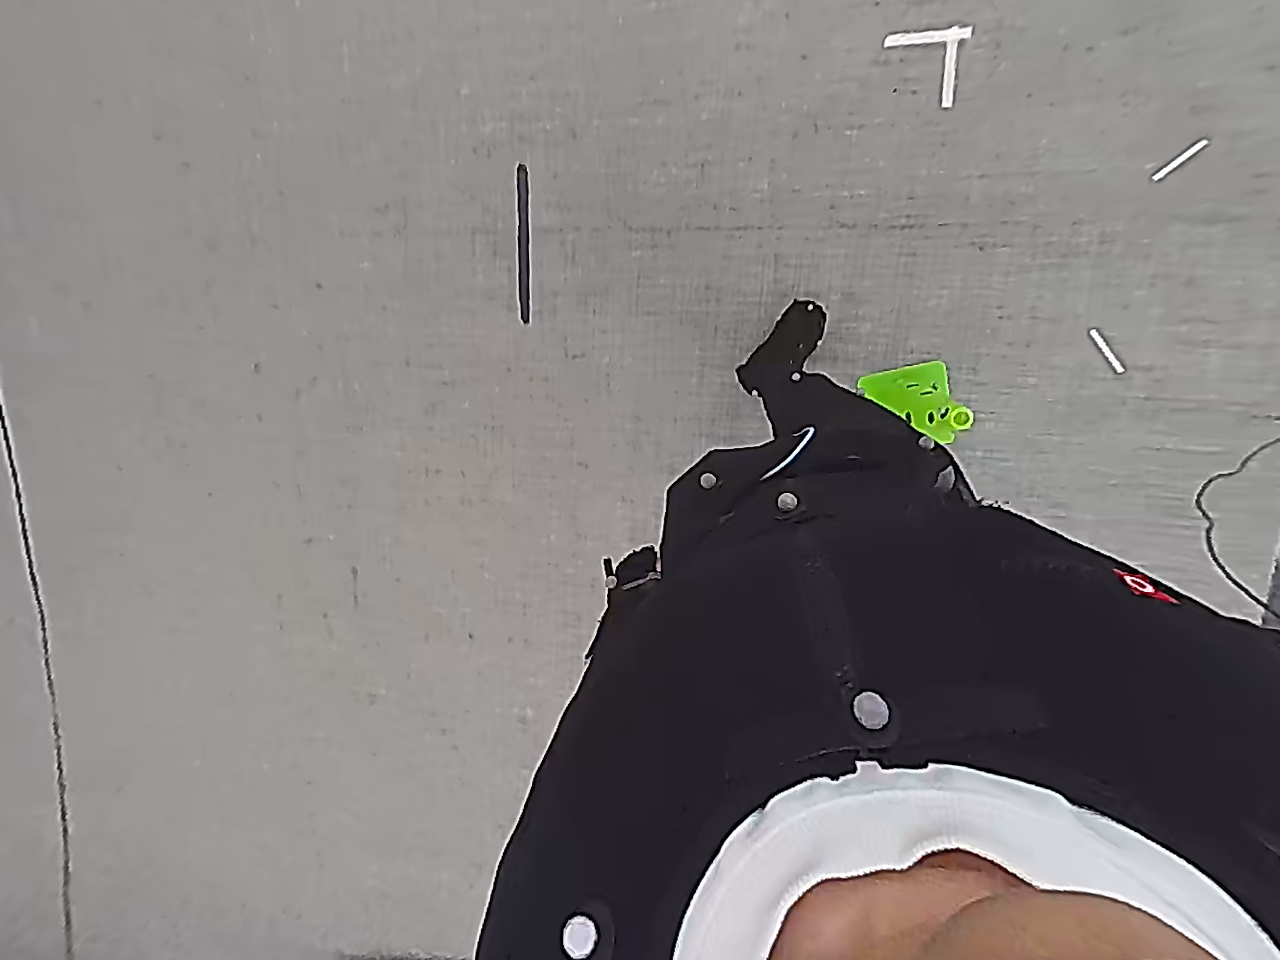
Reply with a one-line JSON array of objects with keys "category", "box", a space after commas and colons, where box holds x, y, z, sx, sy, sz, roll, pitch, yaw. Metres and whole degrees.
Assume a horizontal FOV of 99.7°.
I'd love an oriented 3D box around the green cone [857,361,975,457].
[{"category": "green cone", "box": [0.608, -0.143, 1.127, 0.200, 0.368, 0.202, -12, 96, 12]}]
